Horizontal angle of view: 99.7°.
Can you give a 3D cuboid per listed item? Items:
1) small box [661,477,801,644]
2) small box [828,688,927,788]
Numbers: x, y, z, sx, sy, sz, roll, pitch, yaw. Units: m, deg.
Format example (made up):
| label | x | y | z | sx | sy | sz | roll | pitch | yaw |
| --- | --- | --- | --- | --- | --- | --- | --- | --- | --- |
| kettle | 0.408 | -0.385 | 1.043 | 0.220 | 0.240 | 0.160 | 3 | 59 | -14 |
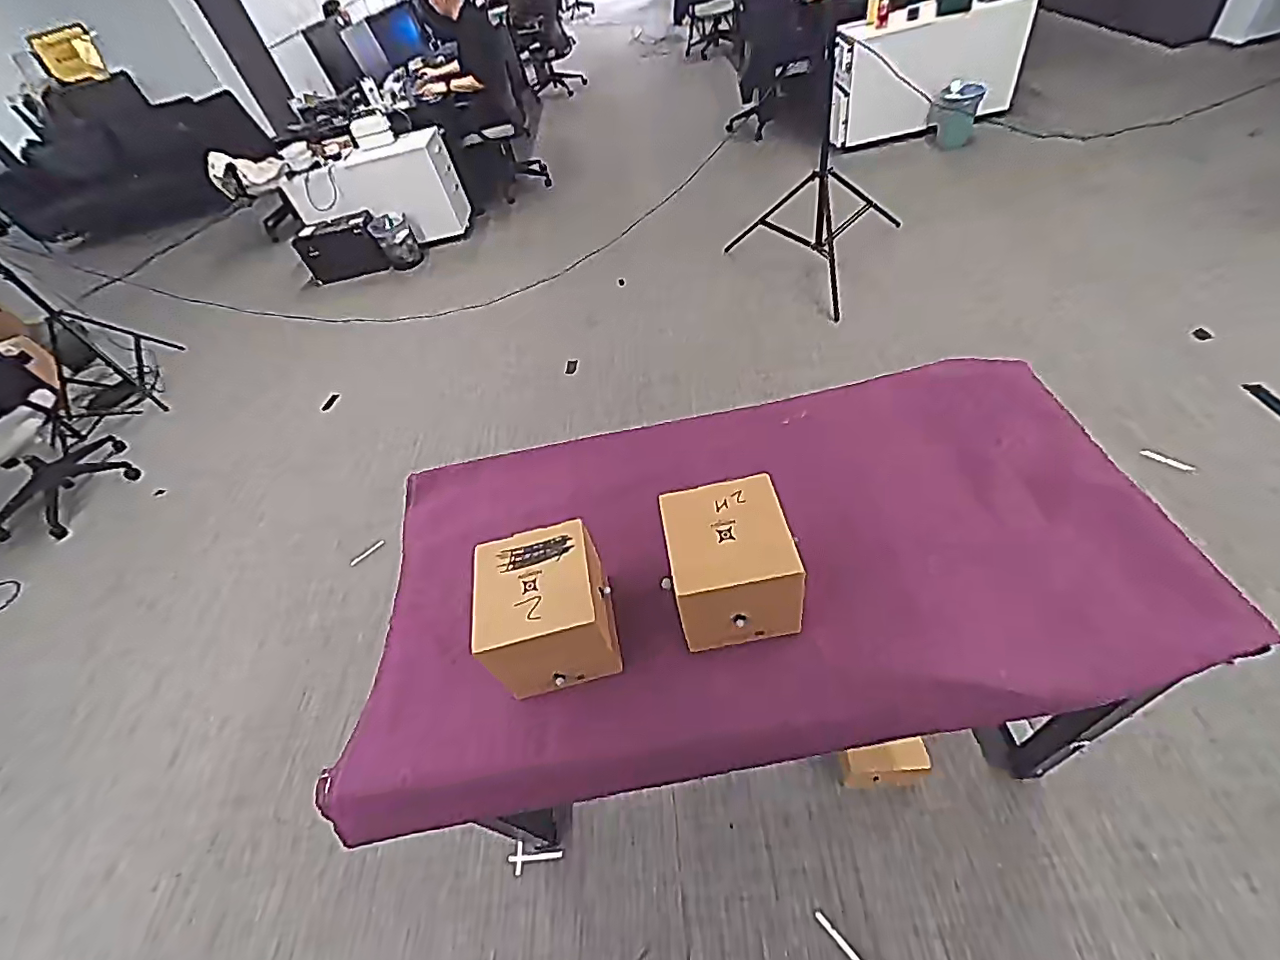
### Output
| label | x | y | z | sx | sy | sz | roll | pitch | yaw |
| --- | --- | --- | --- | --- | --- | --- | --- | --- | --- |
| small box | 0.132 | 0.126 | 0.797 | 0.168 | 0.176 | 0.179 | -11 | 46 | 3 |
| small box | 0.544 | 0.608 | 1.261 | 0.168 | 0.176 | 0.179 | -8 | 47 | 8 |
